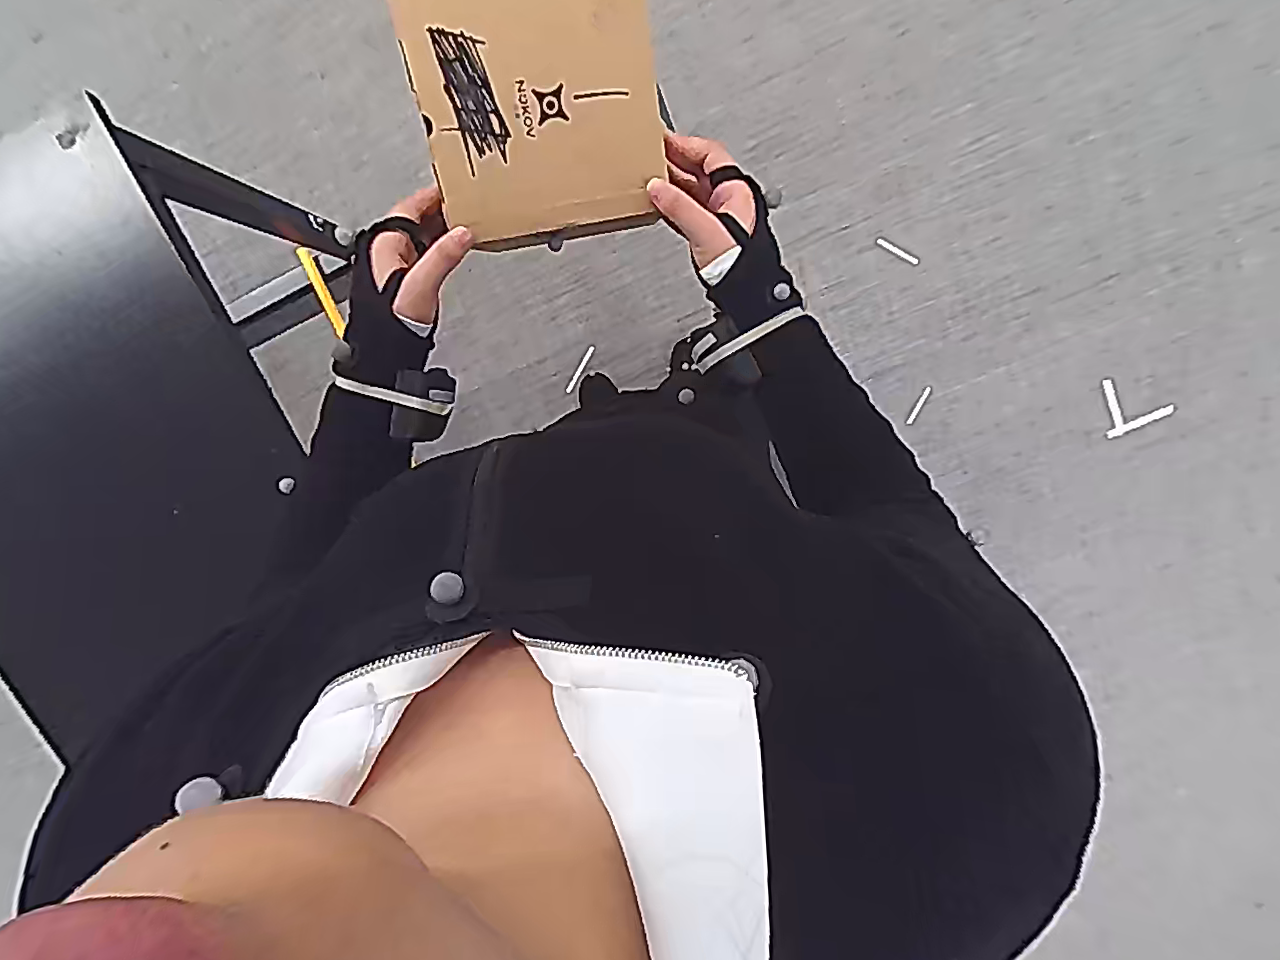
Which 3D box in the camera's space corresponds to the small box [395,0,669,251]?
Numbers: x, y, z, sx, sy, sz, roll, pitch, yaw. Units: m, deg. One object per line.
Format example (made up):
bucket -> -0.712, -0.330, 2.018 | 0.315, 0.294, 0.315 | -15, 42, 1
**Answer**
small box -> -0.077, -0.303, 0.474 | 0.179, 0.176, 0.168 | -10, 112, 0
